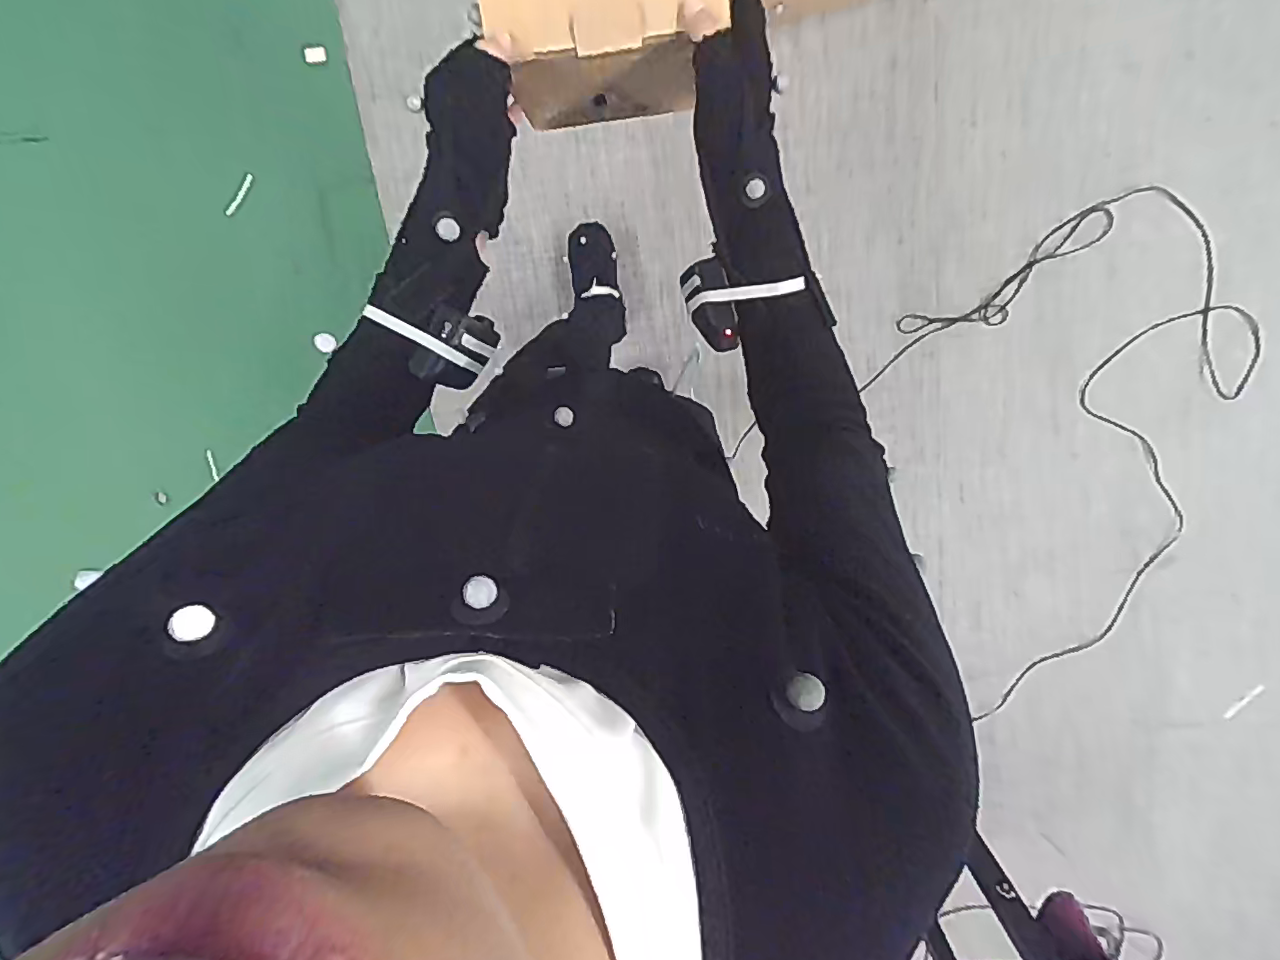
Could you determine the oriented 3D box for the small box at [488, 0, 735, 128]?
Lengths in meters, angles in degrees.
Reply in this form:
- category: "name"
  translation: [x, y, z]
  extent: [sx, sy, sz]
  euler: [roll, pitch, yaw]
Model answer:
- category: "small box"
  translation: [-0.026, -0.399, 0.413]
  extent: [0.168, 0.176, 0.179]
  euler: [-6, 111, 2]
